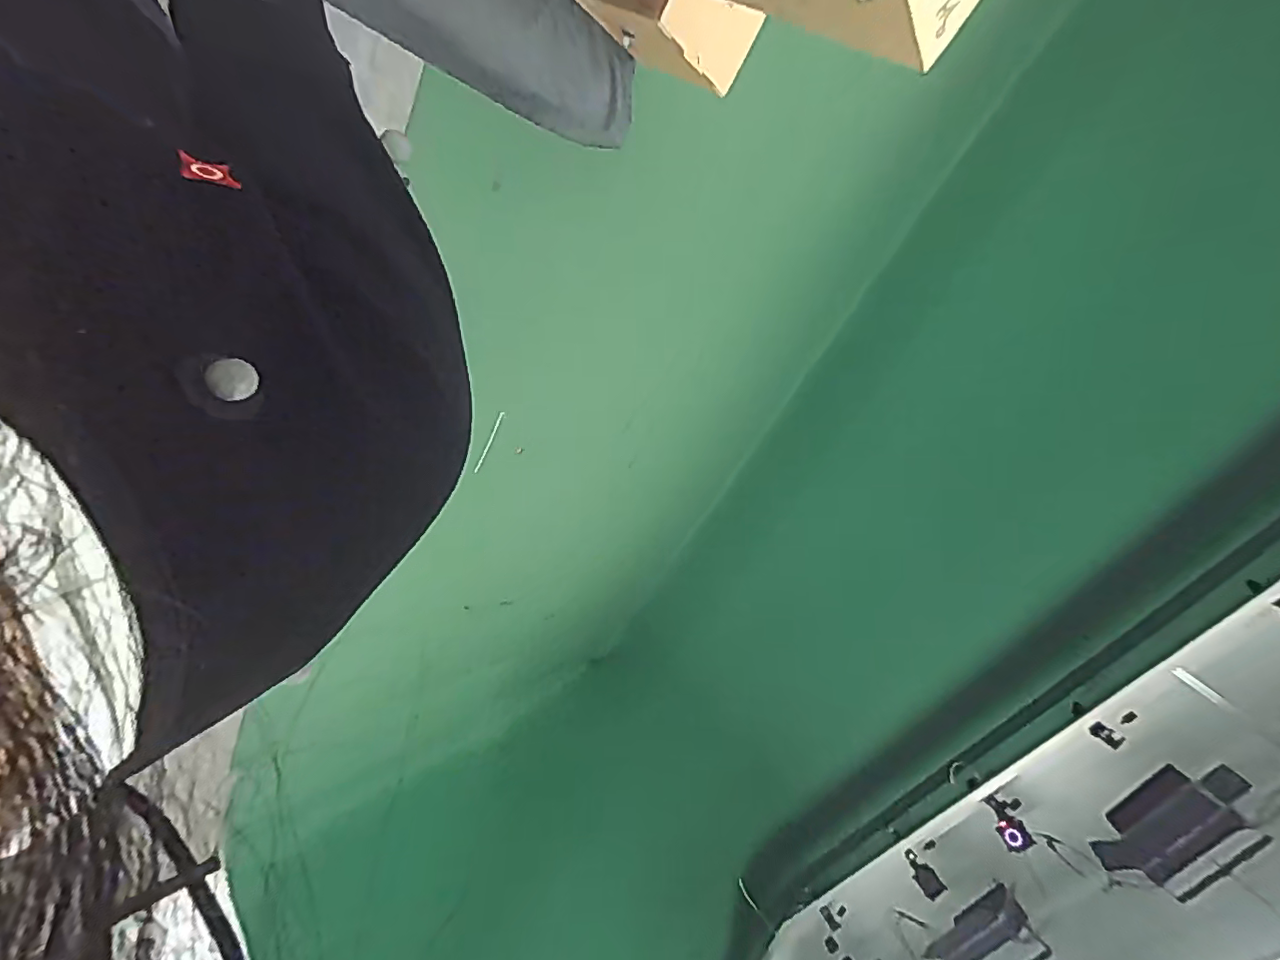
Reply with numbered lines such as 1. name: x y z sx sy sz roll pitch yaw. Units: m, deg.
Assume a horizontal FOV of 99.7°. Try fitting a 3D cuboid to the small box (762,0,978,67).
1. small box: 0.172 -0.440 0.362 0.168 0.176 0.179 0 130 -54
